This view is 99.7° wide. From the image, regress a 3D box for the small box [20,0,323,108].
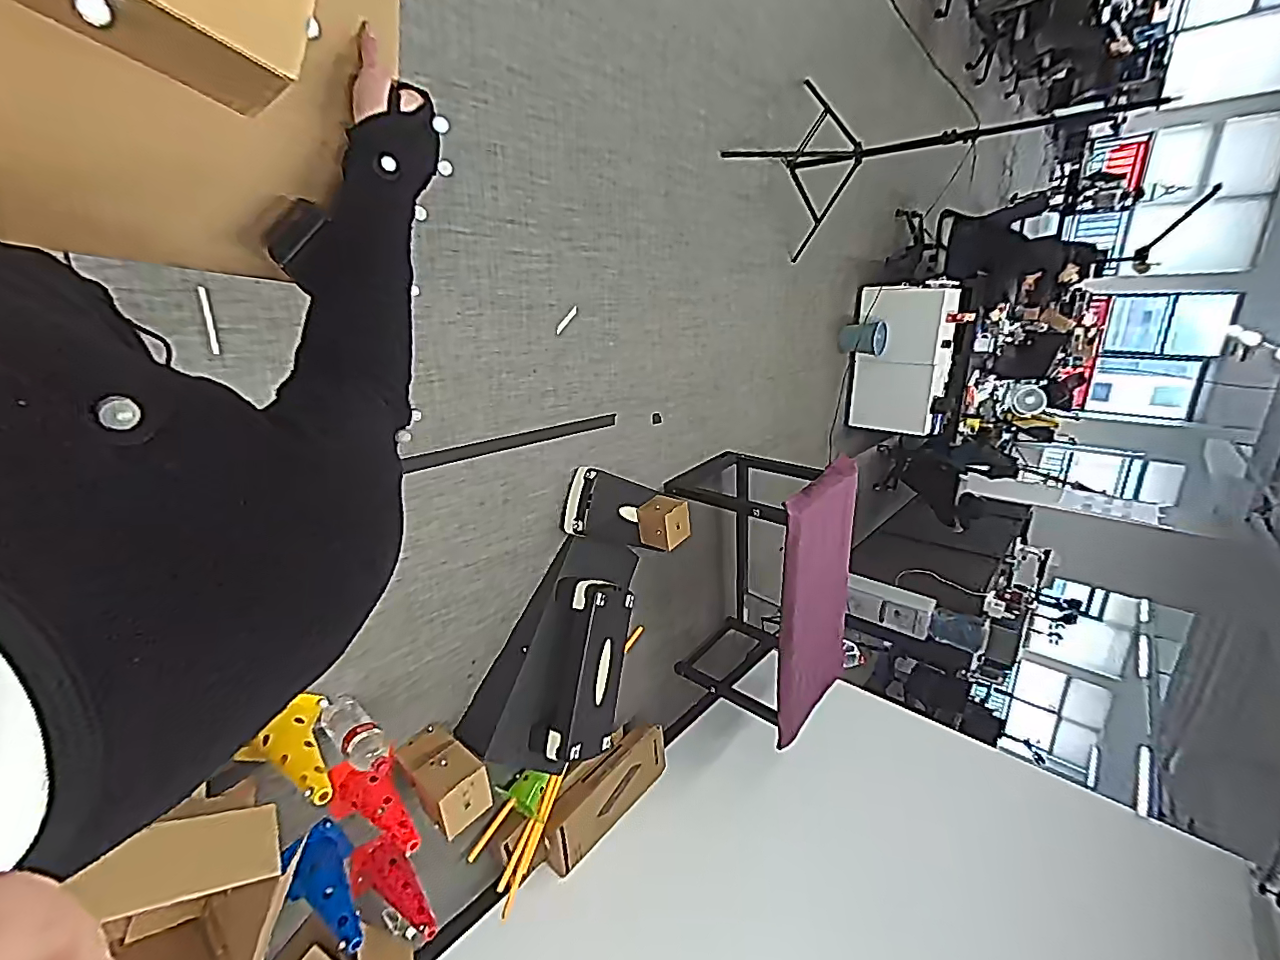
[{"bbox_3d":[-0.315,-0.375,0.349,0.179,0.176,0.168,10,102,-45],"label":"small box"}]
